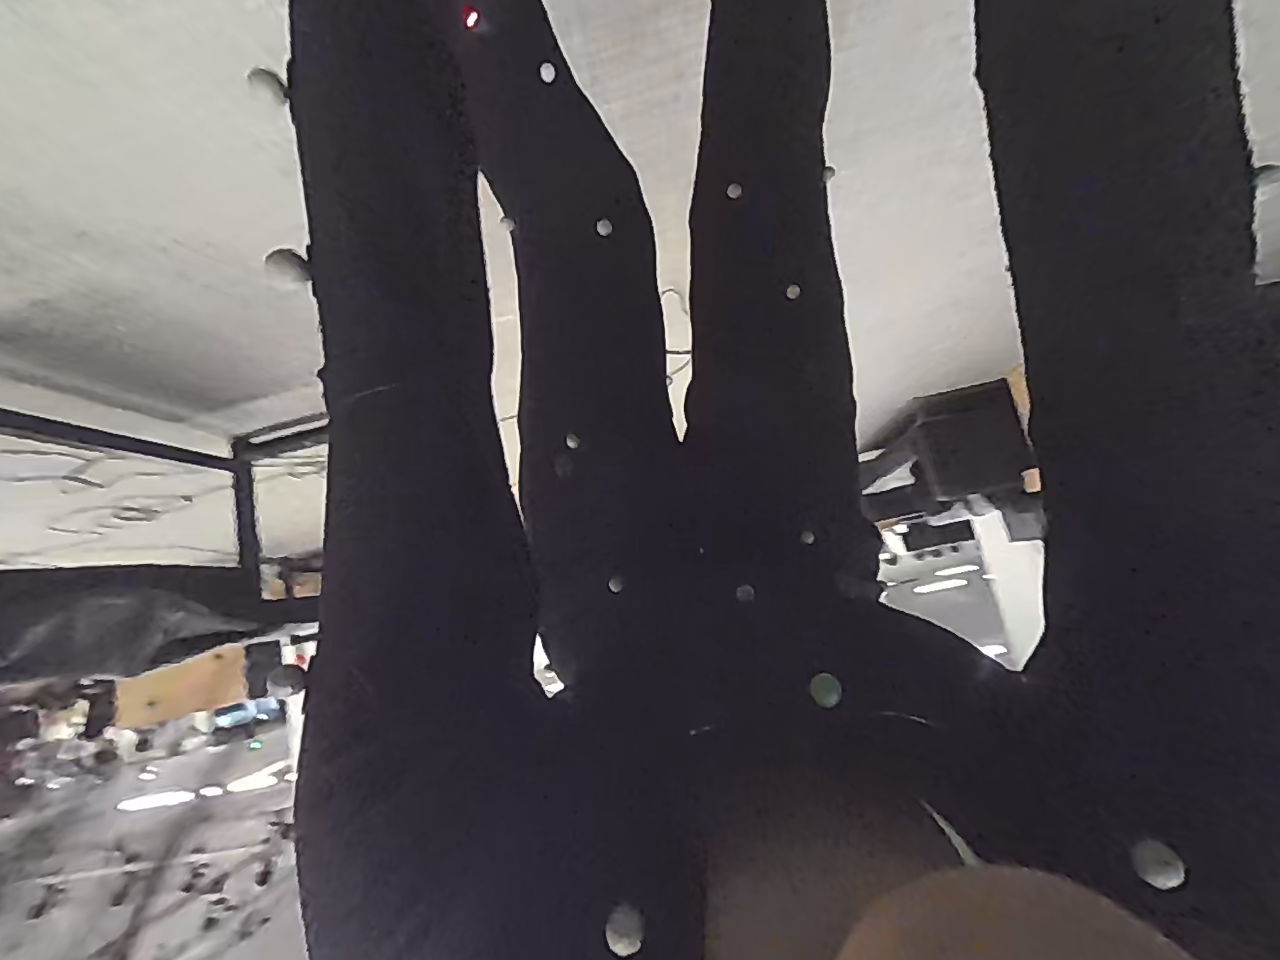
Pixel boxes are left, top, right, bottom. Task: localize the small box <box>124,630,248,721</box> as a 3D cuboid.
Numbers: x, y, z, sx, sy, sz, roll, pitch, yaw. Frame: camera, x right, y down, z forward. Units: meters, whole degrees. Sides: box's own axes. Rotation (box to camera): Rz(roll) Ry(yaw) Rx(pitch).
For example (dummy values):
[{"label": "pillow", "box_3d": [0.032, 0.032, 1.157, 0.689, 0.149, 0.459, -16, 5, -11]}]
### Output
[{"label": "small box", "box_3d": [-1.103, 0.469, 1.323, 0.179, 0.176, 0.168, -13, 169, 7]}]
